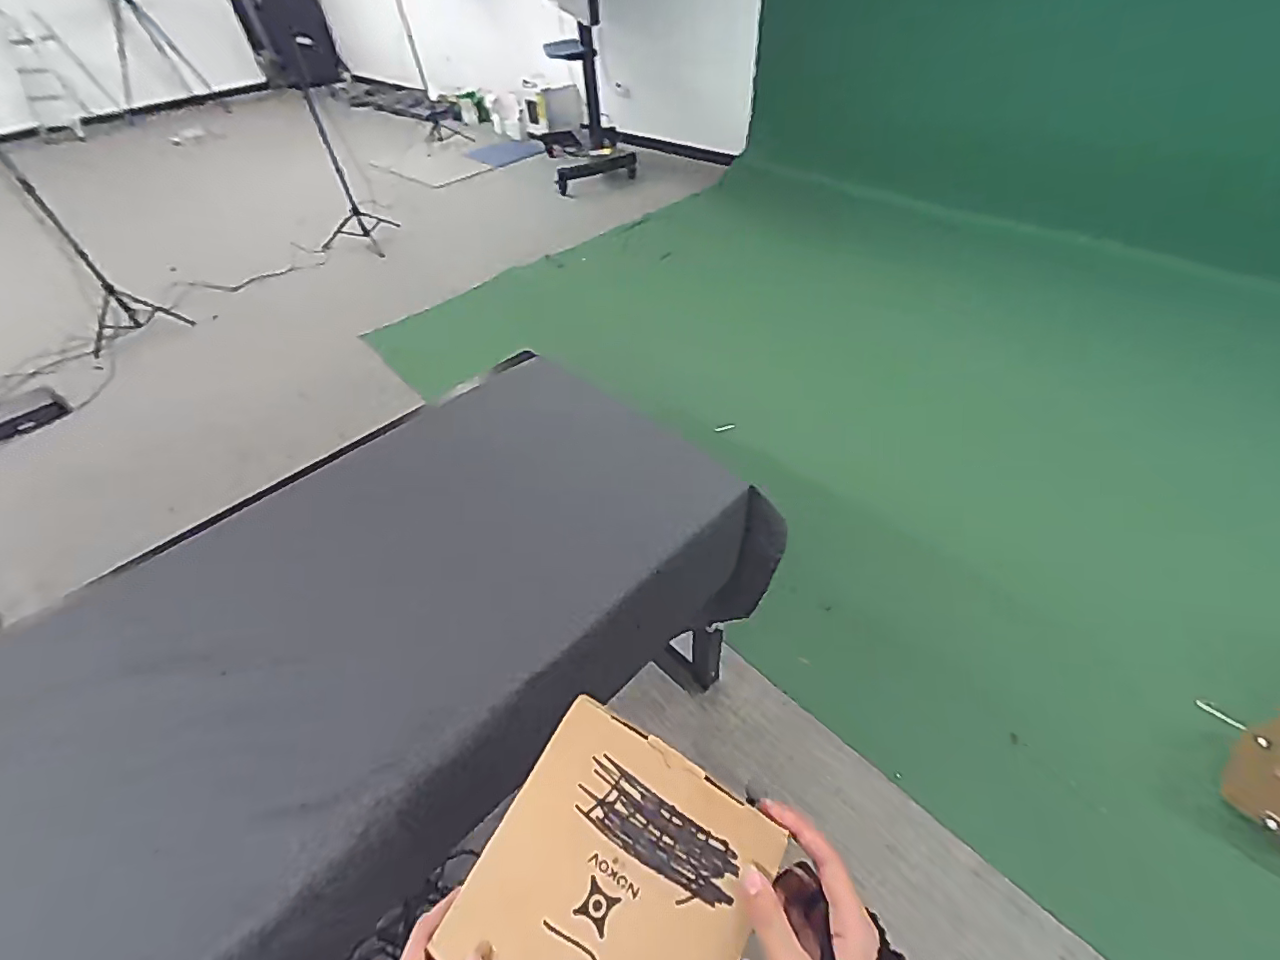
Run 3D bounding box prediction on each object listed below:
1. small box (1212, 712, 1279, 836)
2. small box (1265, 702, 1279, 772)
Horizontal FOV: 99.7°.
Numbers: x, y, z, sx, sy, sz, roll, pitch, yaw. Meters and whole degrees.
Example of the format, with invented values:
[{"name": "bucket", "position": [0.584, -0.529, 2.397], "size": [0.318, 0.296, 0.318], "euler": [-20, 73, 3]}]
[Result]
[{"name": "small box", "position": [1.333, 0.606, 1.100], "size": [0.168, 0.176, 0.179], "euler": [33, 58, 31]}, {"name": "small box", "position": [1.314, 0.492, 0.985], "size": [0.168, 0.176, 0.179], "euler": [33, 56, 30]}]
